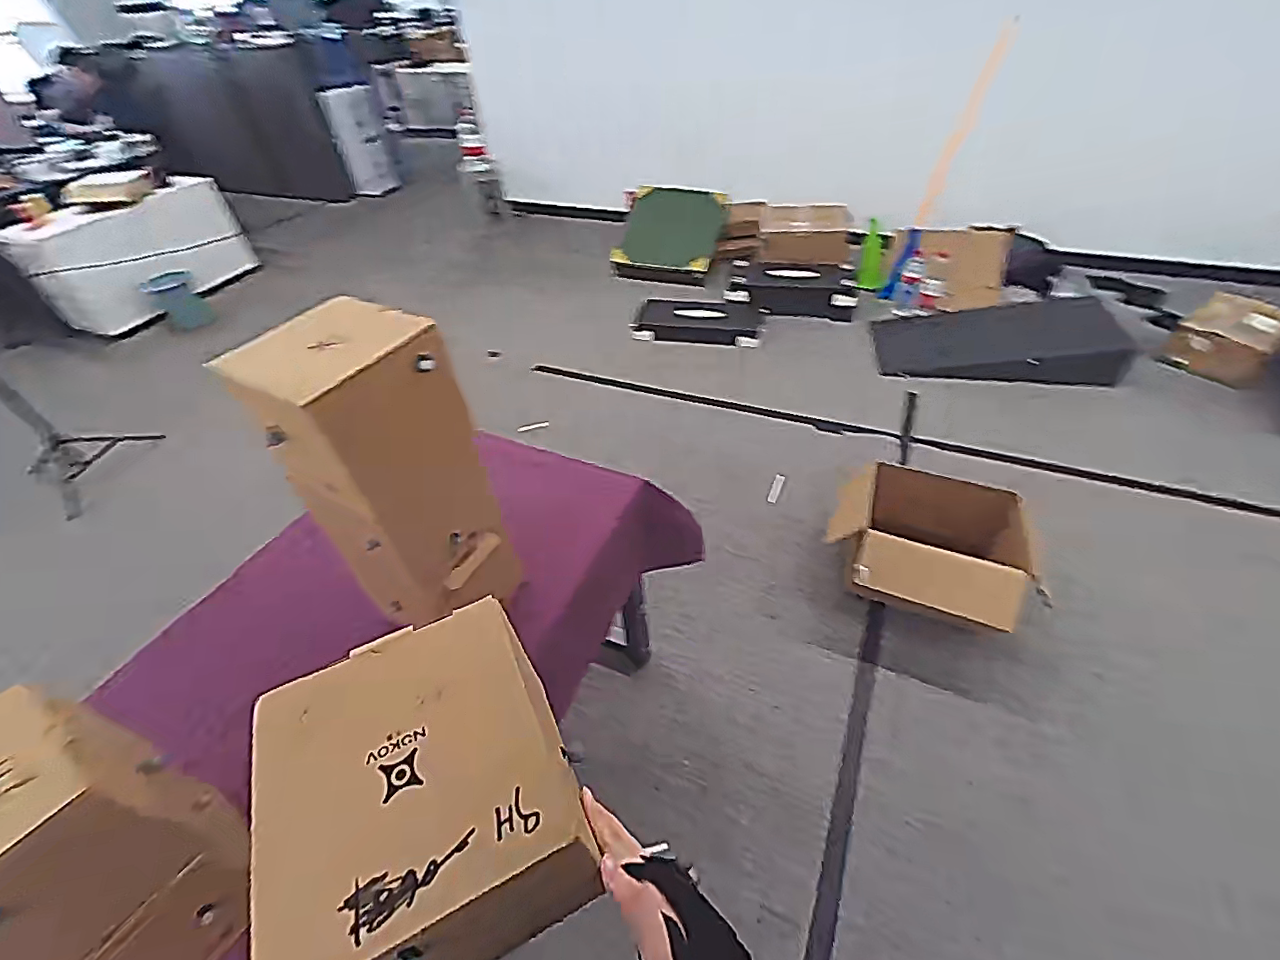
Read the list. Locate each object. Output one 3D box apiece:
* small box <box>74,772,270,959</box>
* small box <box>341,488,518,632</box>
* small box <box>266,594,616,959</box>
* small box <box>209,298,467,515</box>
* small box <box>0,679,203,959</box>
[{"bbox_3d":[-0.545,0.444,0.589,0.179,0.176,0.168,24,51,27],"label":"small box"},{"bbox_3d":[-0.322,0.146,0.867,0.179,0.176,0.168,17,49,22],"label":"small box"},{"bbox_3d":[-0.129,0.221,0.384,0.168,0.176,0.179,-22,47,-14],"label":"small box"},{"bbox_3d":[-0.335,-0.088,0.639,0.168,0.176,0.179,20,50,23],"label":"small box"},{"bbox_3d":[-0.553,0.324,0.478,0.168,0.176,0.179,26,52,27],"label":"small box"}]
